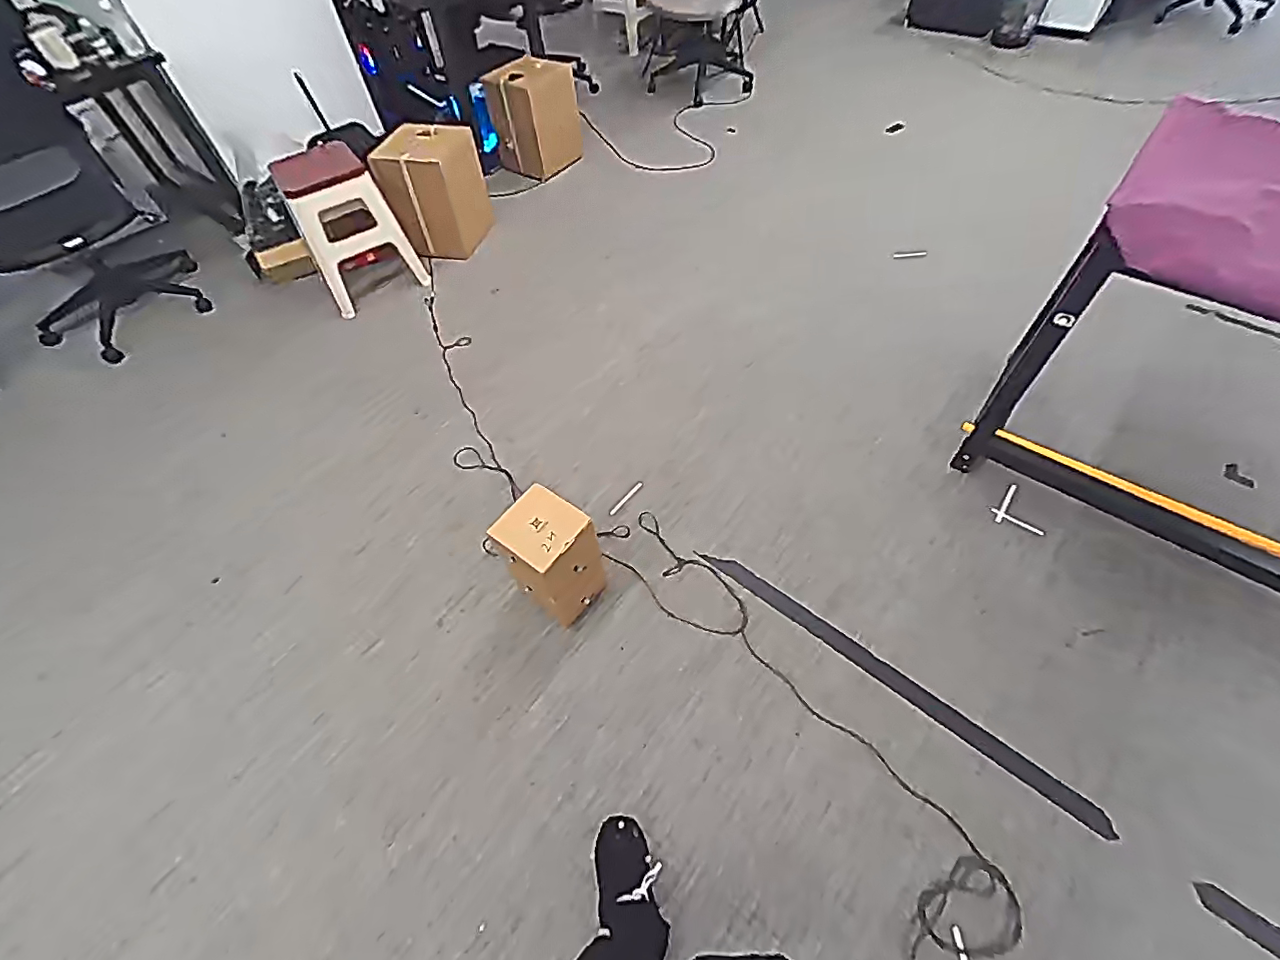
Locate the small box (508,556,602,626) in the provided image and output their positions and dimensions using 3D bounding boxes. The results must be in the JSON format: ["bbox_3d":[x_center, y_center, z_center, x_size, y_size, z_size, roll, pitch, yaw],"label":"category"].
[{"bbox_3d":[-0.216,0.247,1.391,0.179,0.176,0.168,33,63,22],"label":"small box"}]

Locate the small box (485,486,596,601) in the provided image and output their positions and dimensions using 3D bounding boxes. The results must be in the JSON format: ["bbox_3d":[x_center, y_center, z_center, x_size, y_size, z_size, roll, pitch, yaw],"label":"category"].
[{"bbox_3d":[-0.224,0.152,1.256,0.179,0.176,0.168,31,63,22],"label":"small box"}]
